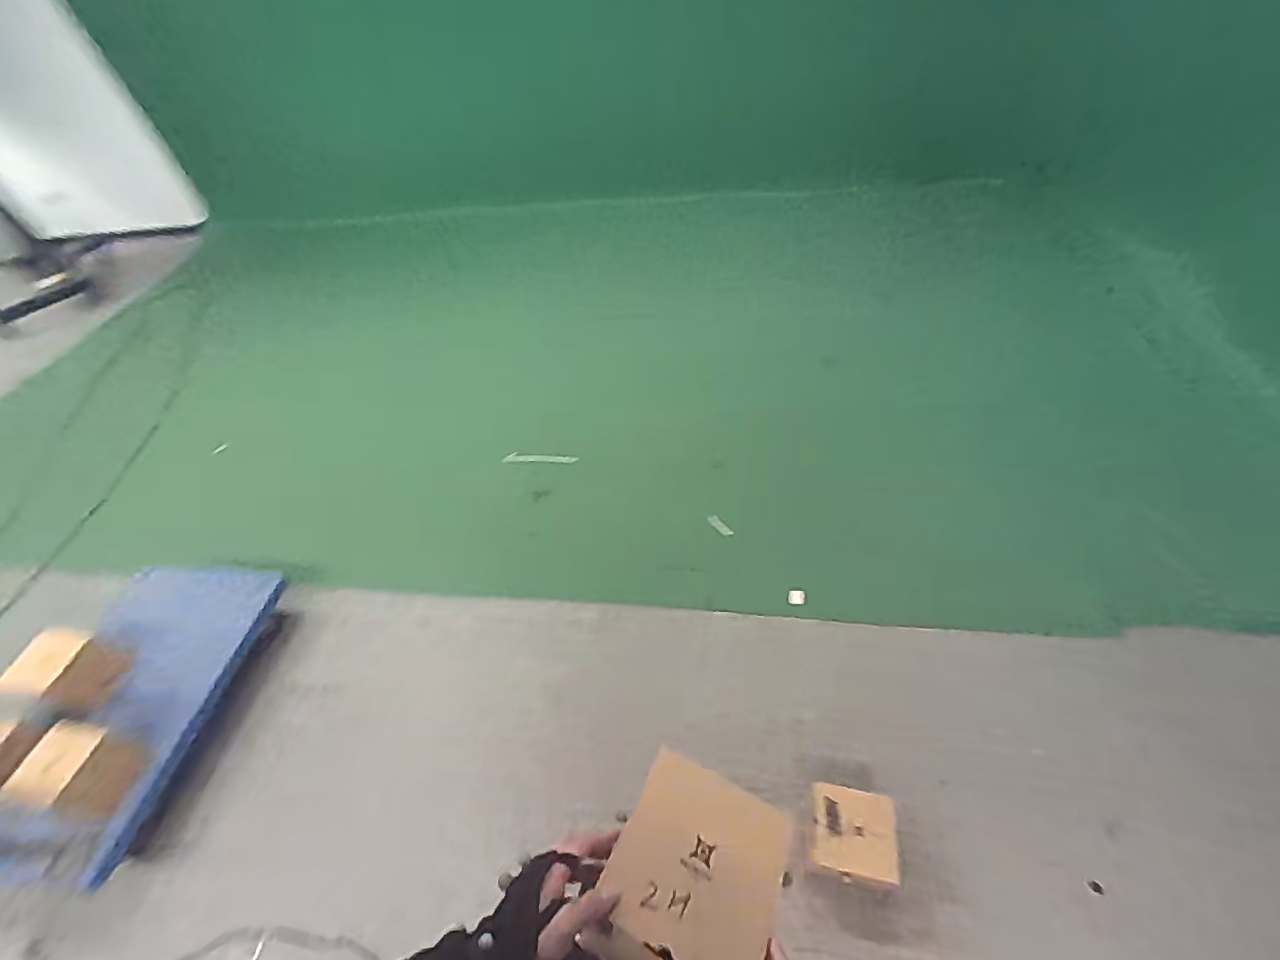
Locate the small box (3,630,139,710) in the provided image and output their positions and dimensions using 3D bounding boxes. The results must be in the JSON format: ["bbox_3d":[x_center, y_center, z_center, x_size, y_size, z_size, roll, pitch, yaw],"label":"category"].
[{"bbox_3d":[-1.656,0.560,1.586,0.179,0.176,0.168,3,50,10],"label":"small box"}]

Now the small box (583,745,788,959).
[{"bbox_3d":[0.045,0.447,0.604,0.168,0.176,0.179,21,41,16],"label":"small box"}]

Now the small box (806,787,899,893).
[{"bbox_3d":[0.489,0.845,1.263,0.179,0.176,0.168,6,52,13],"label":"small box"}]

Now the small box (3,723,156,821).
[{"bbox_3d":[-1.416,0.750,1.384,0.168,0.176,0.179,4,50,12],"label":"small box"}]
